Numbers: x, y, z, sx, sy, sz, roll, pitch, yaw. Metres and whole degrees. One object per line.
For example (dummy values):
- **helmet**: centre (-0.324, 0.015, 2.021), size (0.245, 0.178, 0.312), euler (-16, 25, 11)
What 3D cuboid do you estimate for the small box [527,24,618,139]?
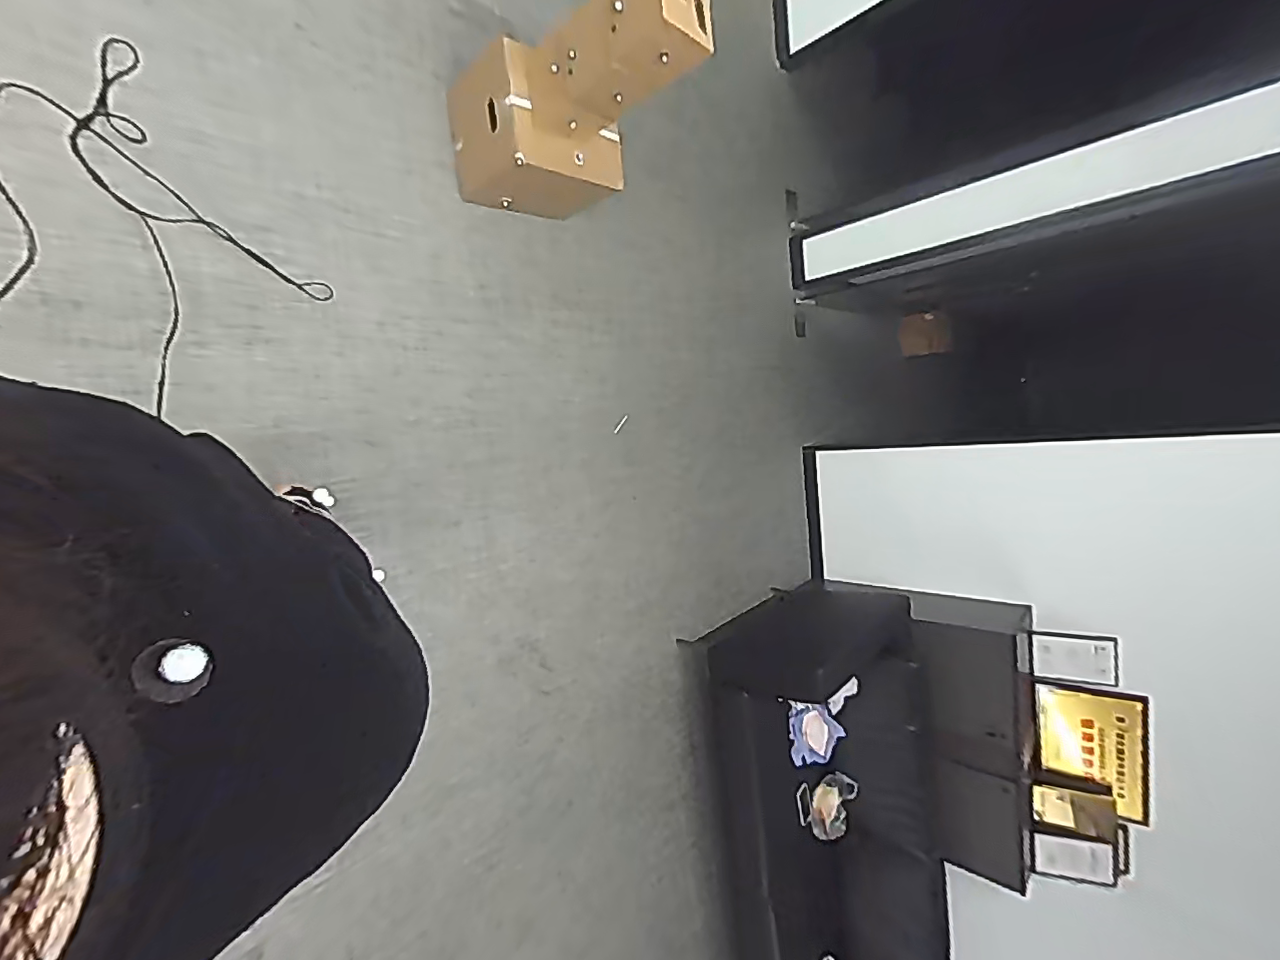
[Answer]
- **small box**: centre (-0.183, -1.060, 1.461), size (0.168, 0.176, 0.179), euler (-16, 101, -45)

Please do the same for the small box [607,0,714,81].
- **small box**: centre (0.045, -1.050, 1.223), size (0.179, 0.176, 0.168), euler (-11, 98, -44)
